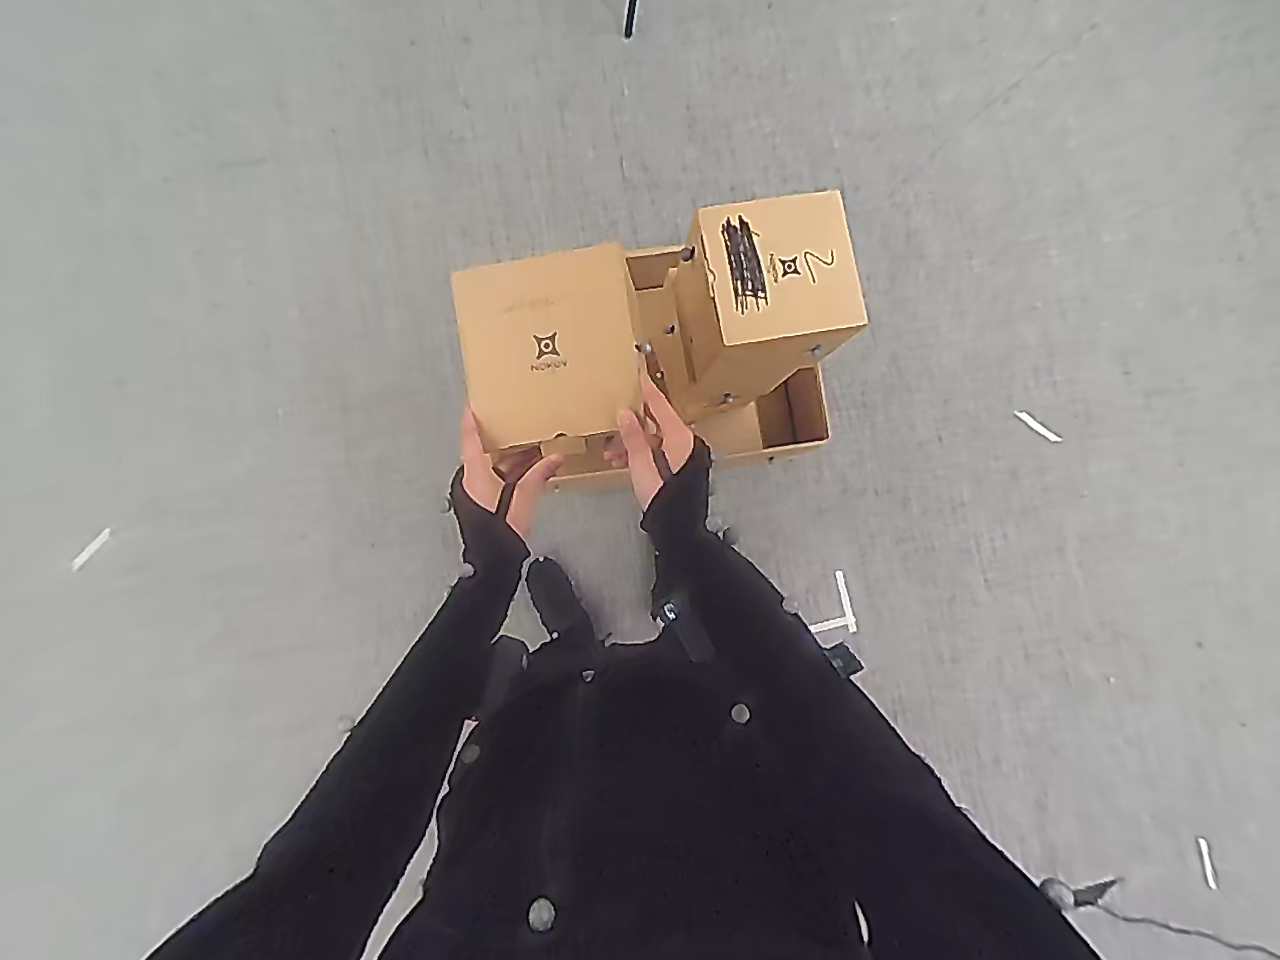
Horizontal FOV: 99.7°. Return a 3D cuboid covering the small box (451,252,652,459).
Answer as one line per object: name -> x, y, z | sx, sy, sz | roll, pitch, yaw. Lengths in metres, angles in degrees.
small box -> -0.081, -0.122, 0.588 | 0.168, 0.176, 0.179 | -8, 94, 5
